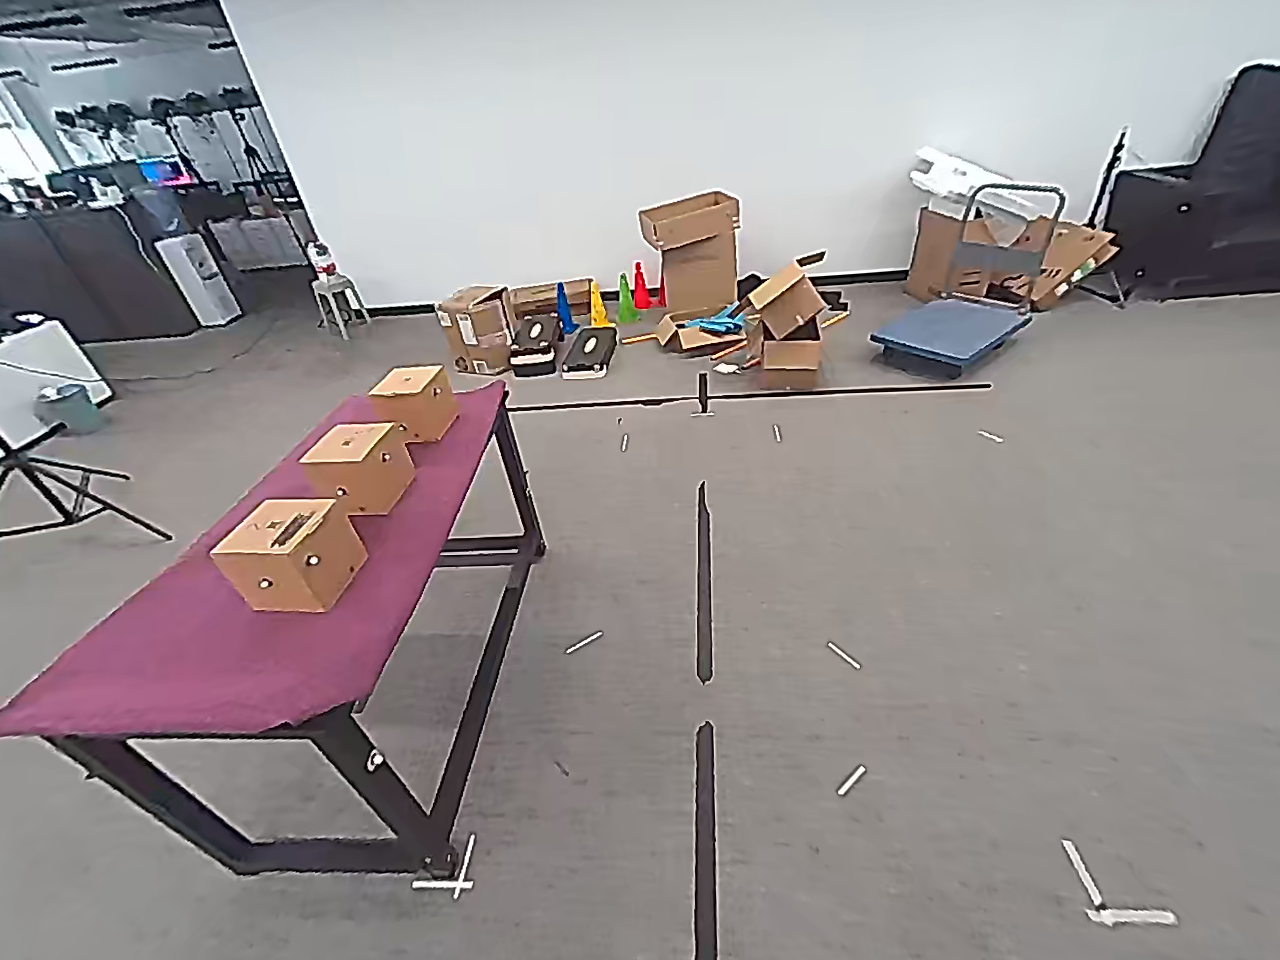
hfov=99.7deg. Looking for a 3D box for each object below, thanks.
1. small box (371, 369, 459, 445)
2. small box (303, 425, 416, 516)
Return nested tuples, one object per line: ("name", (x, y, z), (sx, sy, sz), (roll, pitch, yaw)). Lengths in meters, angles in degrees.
("small box", (-0.673, -0.222, 1.647), (0.168, 0.176, 0.179), (-2, 37, 9))
("small box", (-0.701, -0.022, 1.378), (0.168, 0.176, 0.179), (-1, 36, 8))
